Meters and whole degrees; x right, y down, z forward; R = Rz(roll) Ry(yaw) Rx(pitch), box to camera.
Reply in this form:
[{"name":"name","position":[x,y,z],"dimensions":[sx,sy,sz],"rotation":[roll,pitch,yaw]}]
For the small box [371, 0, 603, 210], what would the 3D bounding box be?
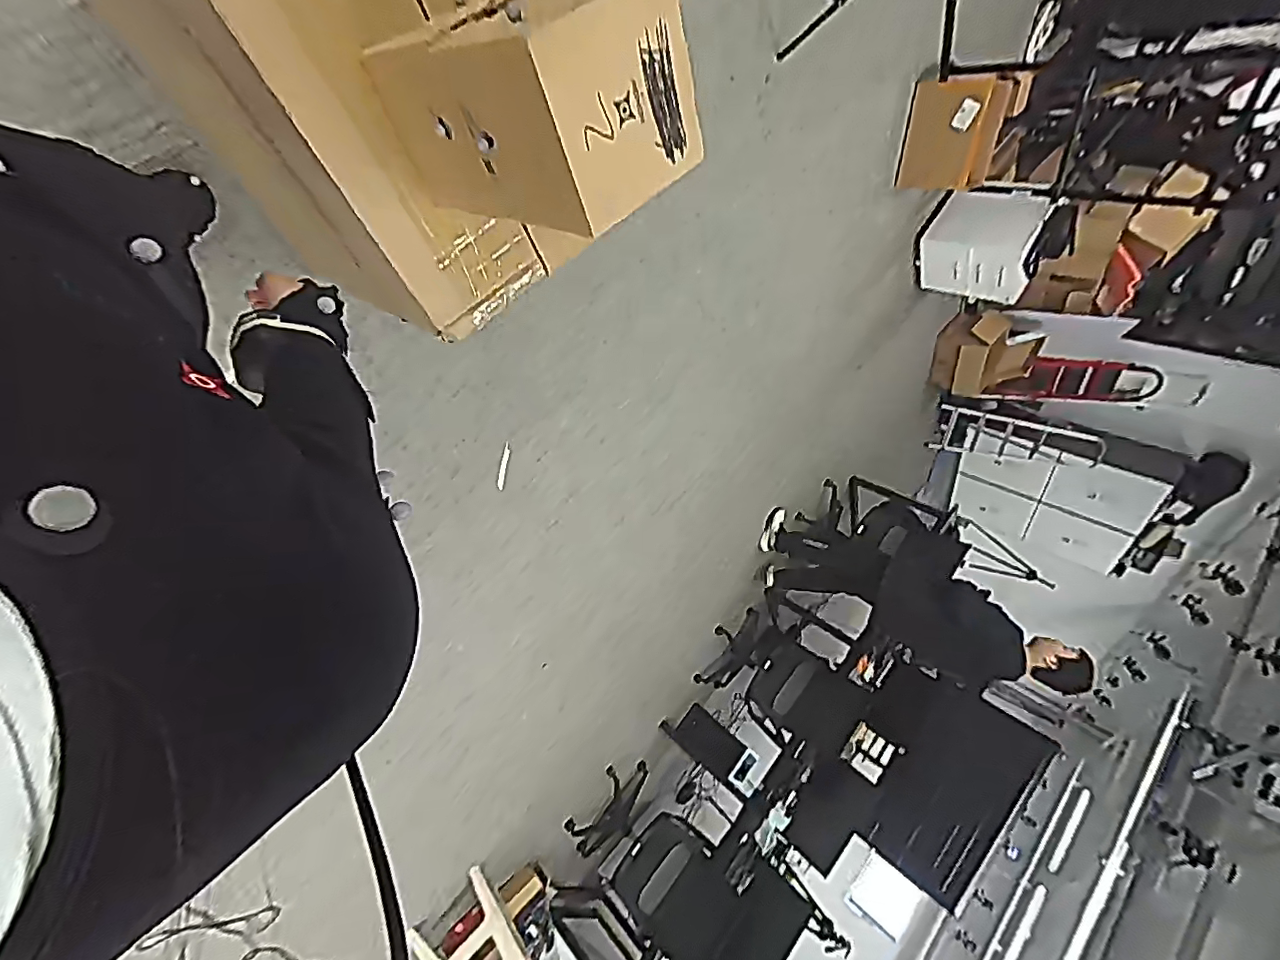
[{"name":"small box","position":[-0.179,-0.451,0.643],"dimensions":[0.168,0.176,0.179],"rotation":[-45,141,-20]}]
